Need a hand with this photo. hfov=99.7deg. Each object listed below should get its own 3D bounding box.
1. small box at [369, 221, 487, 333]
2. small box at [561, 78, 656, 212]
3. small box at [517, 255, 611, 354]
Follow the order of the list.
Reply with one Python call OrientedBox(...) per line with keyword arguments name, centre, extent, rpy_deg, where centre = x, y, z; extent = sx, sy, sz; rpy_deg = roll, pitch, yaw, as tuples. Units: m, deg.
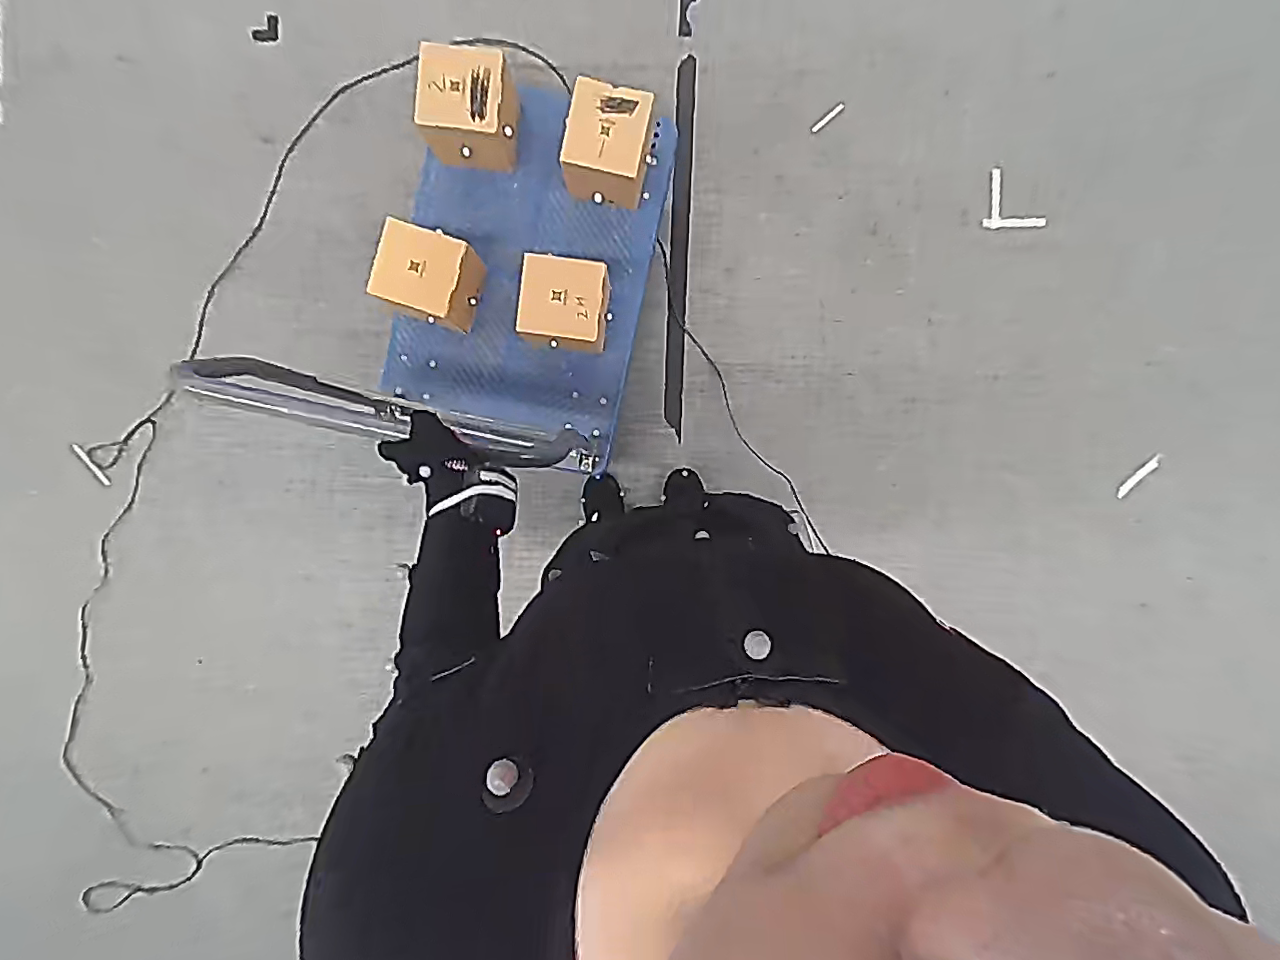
OrientedBox(name="small box", centre=(-0.466, -0.444, 1.213), extent=(0.179, 0.176, 0.168), rpy_deg=(17, 92, -3))
OrientedBox(name="small box", centre=(-0.067, -0.730, 1.197), extent=(0.168, 0.176, 0.179), rpy_deg=(13, 94, -1))
OrientedBox(name="small box", centre=(-0.164, -0.386, 1.217), extent=(0.179, 0.176, 0.168), rpy_deg=(7, 94, -1))
